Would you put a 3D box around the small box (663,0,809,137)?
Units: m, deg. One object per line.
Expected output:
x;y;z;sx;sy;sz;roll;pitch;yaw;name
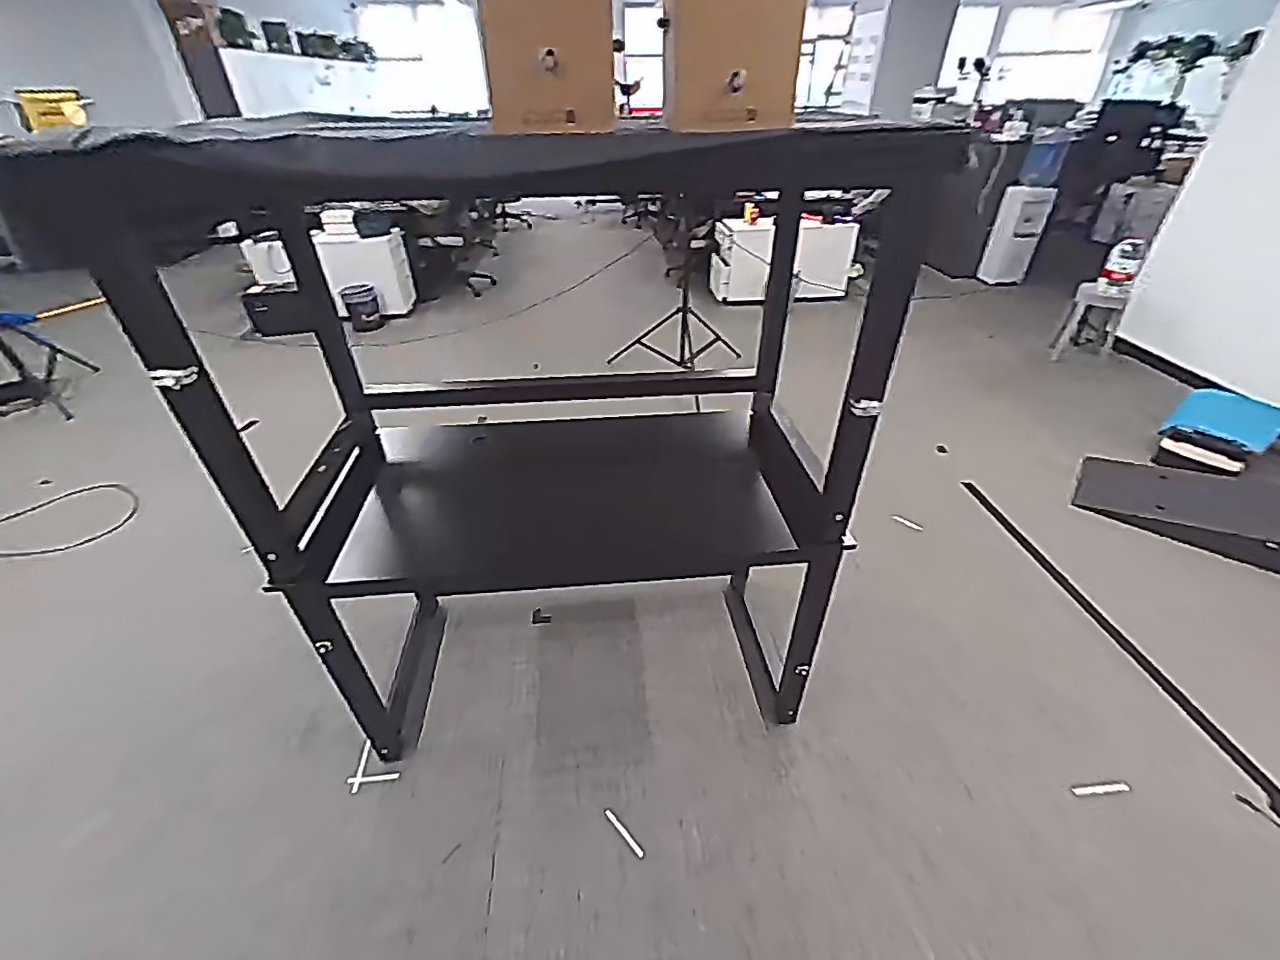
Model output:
0.121;-0.585;0.757;0.168;0.176;0.179;-4;35;-2;small box

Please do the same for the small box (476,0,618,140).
-0.115;-0.573;0.747;0.168;0.176;0.179;-1;35;-2;small box
